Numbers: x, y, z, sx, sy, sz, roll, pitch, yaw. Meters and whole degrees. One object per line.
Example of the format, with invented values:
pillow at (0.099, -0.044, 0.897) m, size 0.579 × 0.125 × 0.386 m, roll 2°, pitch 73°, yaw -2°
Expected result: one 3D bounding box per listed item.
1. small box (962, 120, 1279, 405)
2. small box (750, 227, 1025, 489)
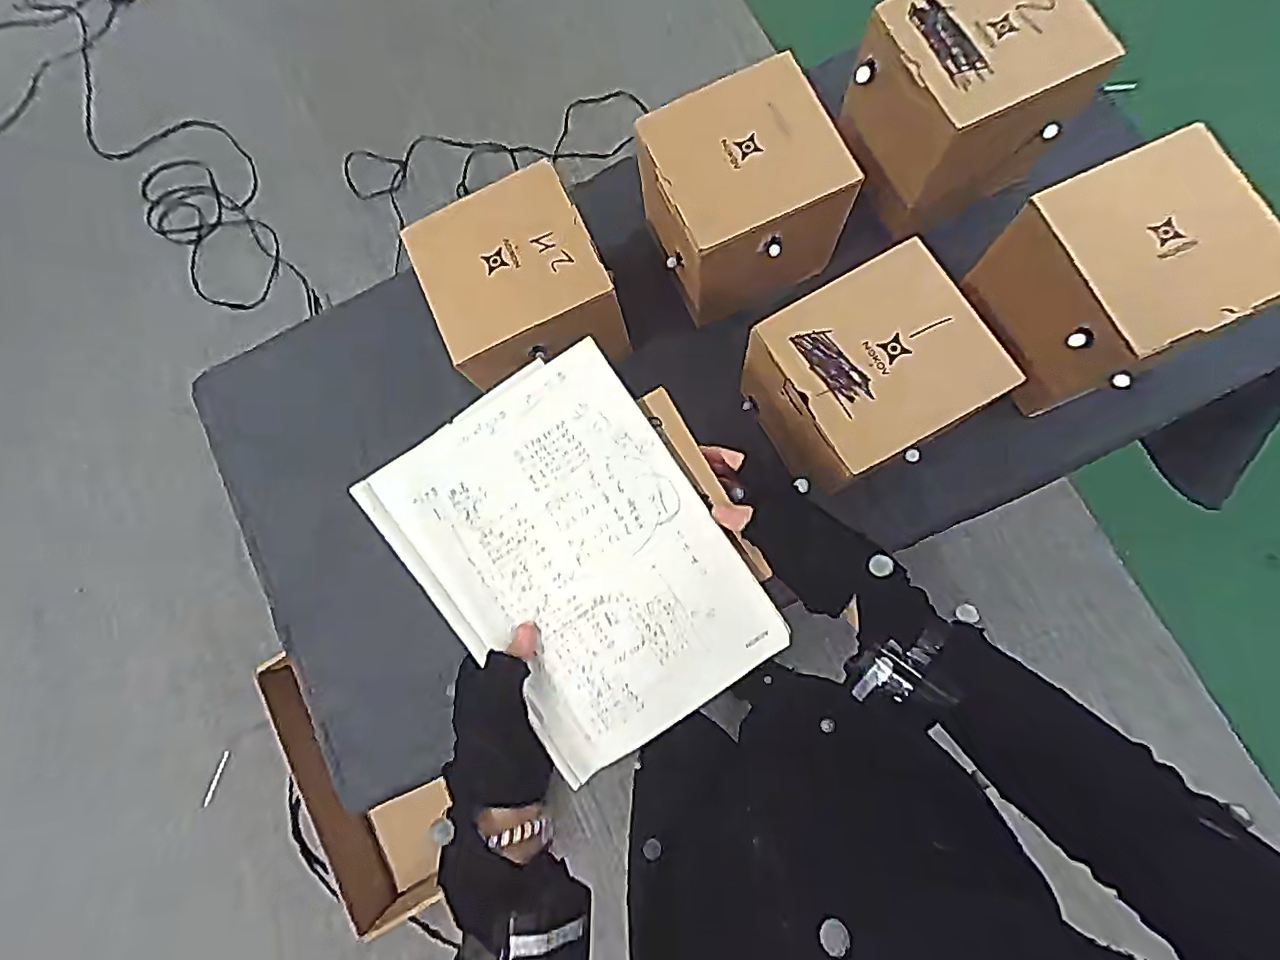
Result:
small box at (0.469, -0.202, 0.548) m, size 0.168 × 0.176 × 0.179 m, roll -23°, pitch 78°, yaw 2°
small box at (0.225, -0.106, 0.553) m, size 0.179 × 0.176 × 0.168 m, roll -29°, pitch 78°, yaw 0°
